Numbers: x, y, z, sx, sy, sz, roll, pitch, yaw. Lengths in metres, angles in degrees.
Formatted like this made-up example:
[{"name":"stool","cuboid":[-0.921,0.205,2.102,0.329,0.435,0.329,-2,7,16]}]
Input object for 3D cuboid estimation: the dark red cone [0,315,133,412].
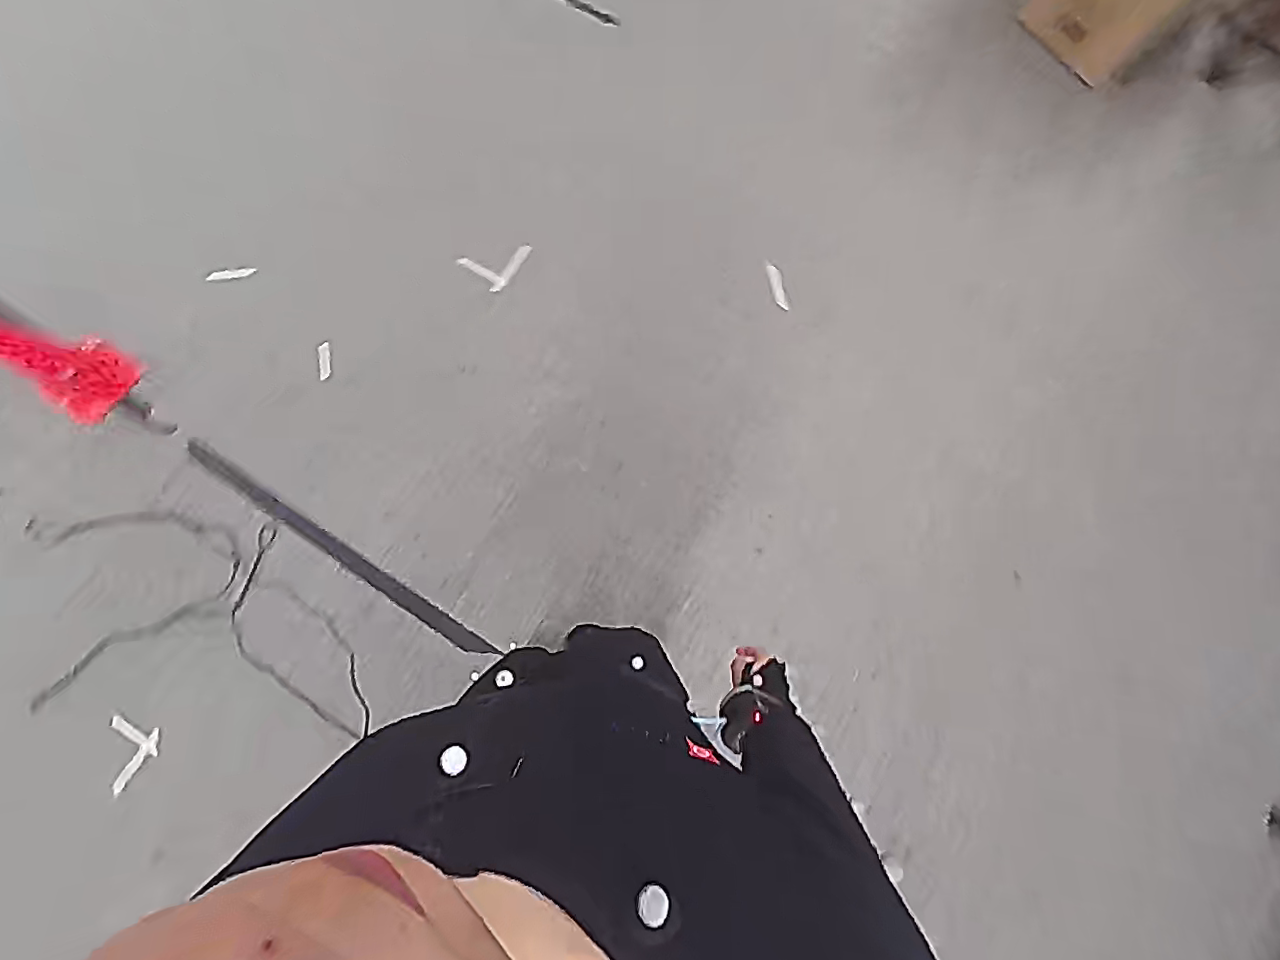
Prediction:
[{"name":"dark red cone","cuboid":[-1.465,-0.331,1.270,0.202,0.394,0.201,32,80,4]}]
